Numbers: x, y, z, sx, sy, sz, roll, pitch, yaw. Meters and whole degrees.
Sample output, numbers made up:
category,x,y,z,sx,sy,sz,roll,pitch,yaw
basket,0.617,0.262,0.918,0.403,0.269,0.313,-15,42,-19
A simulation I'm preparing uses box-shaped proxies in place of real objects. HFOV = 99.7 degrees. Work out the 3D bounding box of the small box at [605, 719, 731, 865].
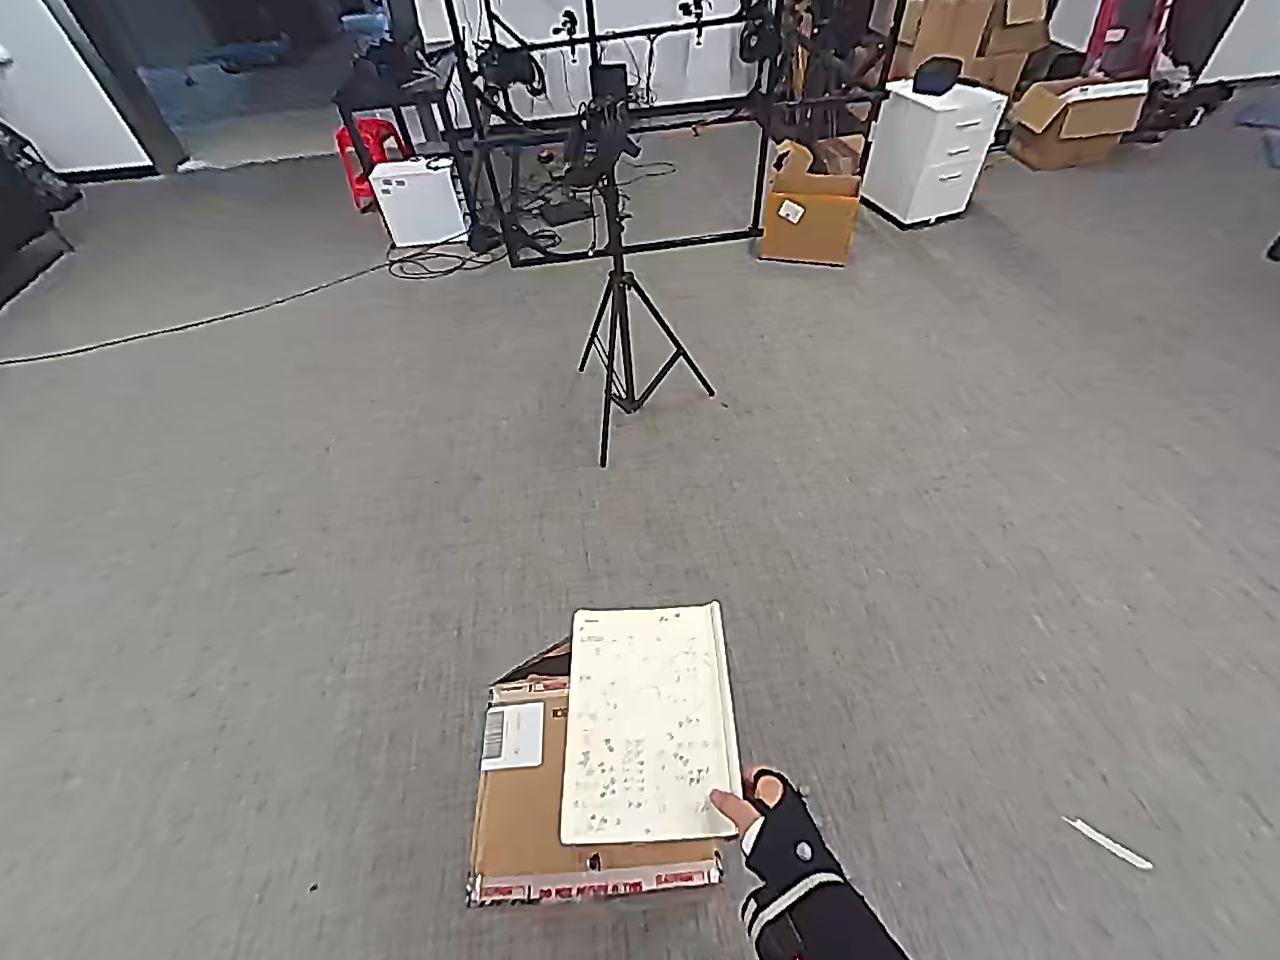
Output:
category,x,y,z,sx,sy,sz,roll,pitch,yaw
small box,0.030,0.475,0.827,0.179,0.176,0.168,-5,50,-2

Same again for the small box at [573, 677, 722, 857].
category,x,y,z,sx,sy,sz,roll,pitch,yaw
small box,0.007,0.372,0.700,0.168,0.176,0.179,-2,51,0
